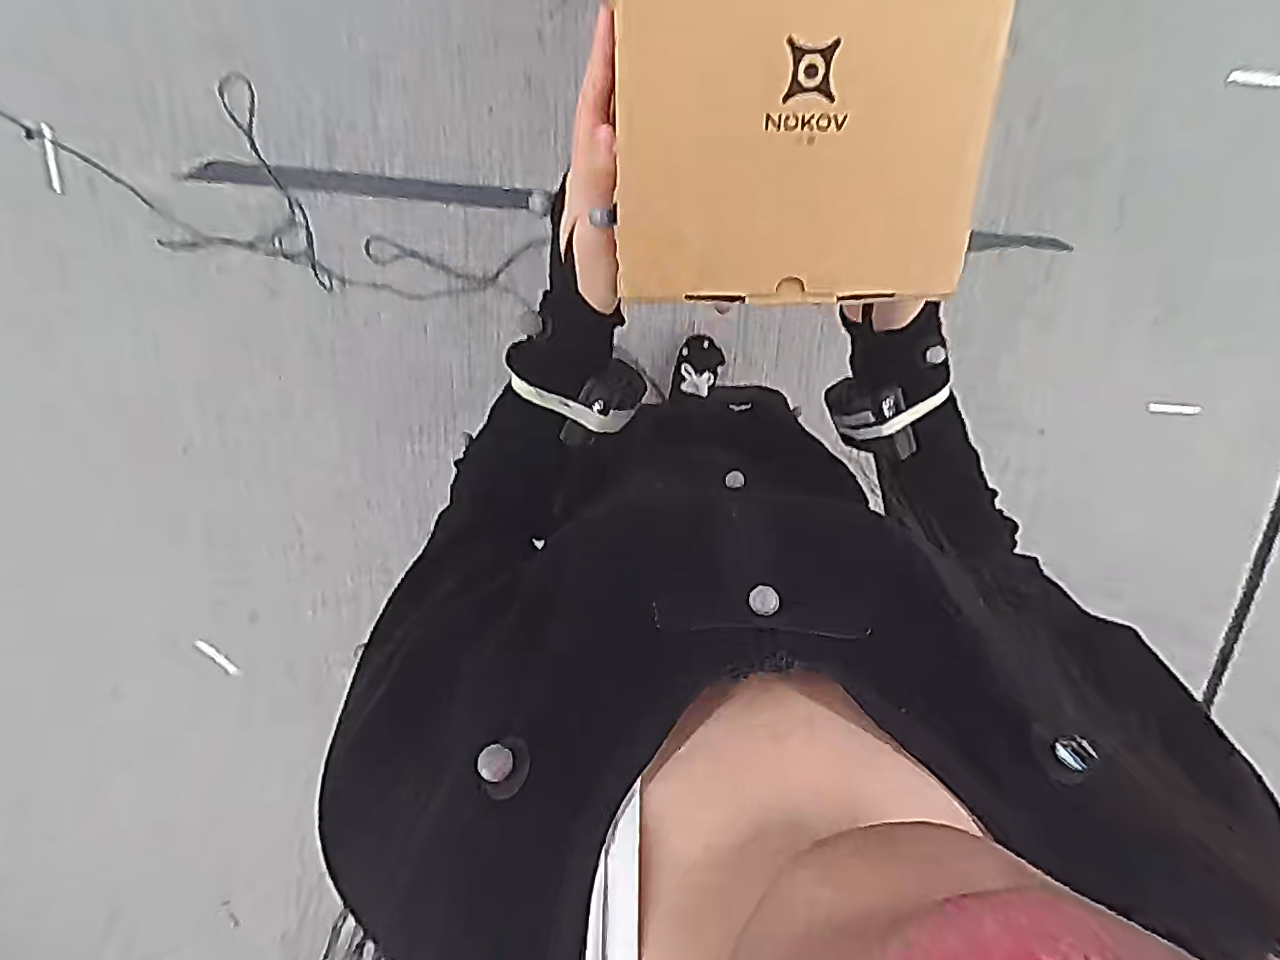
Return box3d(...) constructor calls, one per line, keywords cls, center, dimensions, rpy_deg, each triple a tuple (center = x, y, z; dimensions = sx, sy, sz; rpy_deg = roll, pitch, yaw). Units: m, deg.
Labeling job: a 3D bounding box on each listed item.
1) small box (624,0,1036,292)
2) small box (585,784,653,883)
box3d(cls="small box", center=(0.075, -0.199, 0.299), dimensions=(0.168, 0.176, 0.179), rpy_deg=(-1, 111, -2))
box3d(cls="small box", center=(-0.058, 0.969, 1.492), dimensions=(0.179, 0.176, 0.168), rpy_deg=(0, 106, -3))
